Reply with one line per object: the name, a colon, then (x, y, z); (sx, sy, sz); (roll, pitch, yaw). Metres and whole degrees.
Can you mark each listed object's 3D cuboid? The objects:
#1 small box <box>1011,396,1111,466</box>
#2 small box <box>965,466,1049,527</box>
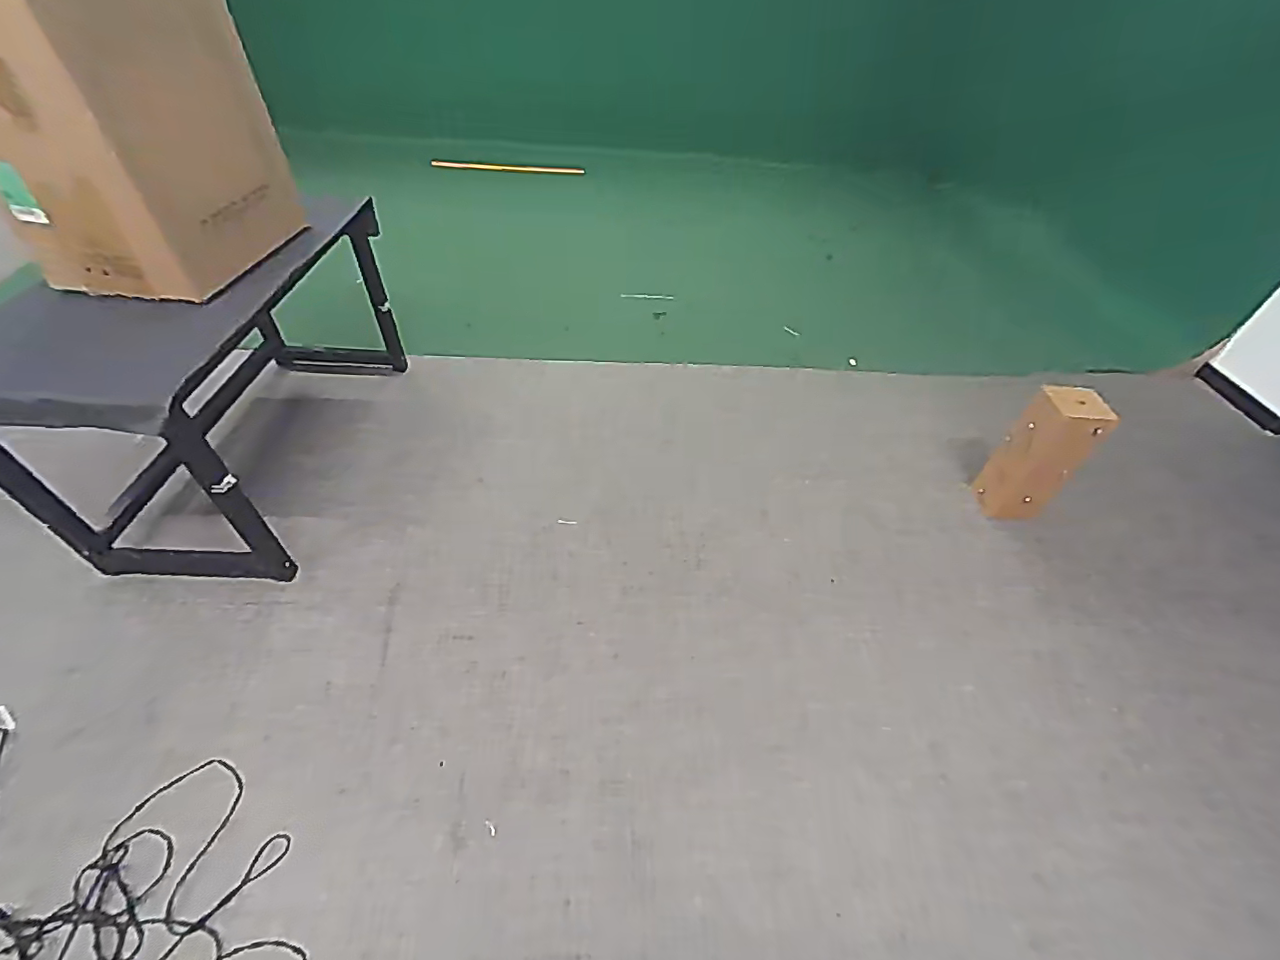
small box: (1.416, -0.163, 1.833); (0.179, 0.176, 0.168); (4, 45, -1)
small box: (1.393, 0.067, 2.067); (0.179, 0.176, 0.168); (2, 46, -3)
